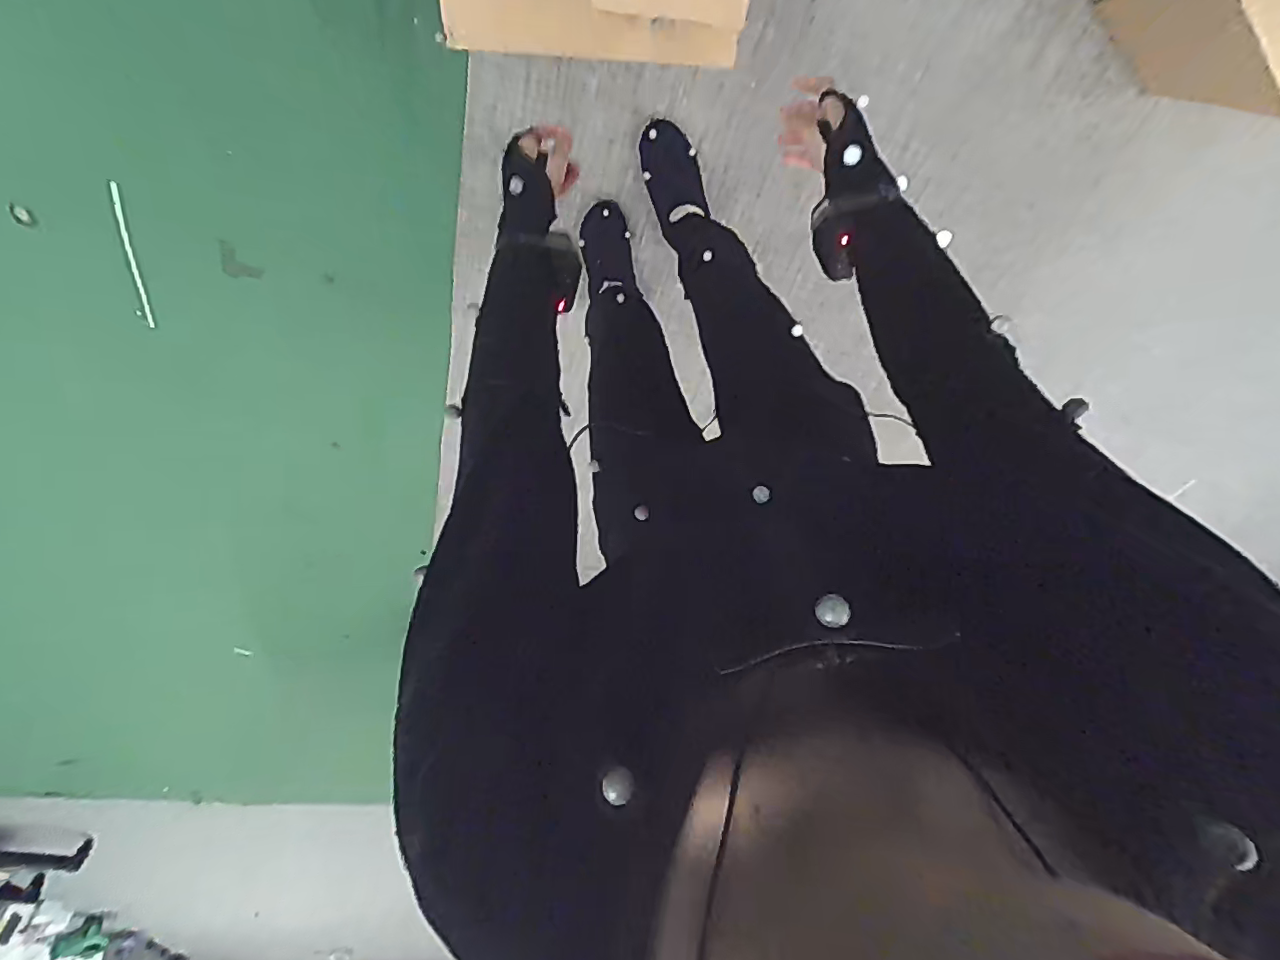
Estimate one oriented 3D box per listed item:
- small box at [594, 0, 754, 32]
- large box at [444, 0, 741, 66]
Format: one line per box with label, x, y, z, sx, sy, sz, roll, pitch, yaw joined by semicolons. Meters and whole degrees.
small box;0.040;-0.623;0.599;0.179;0.176;0.168;3;132;-8
large box;-0.059;-0.802;0.760;0.408;0.320;0.320;0;131;-4
